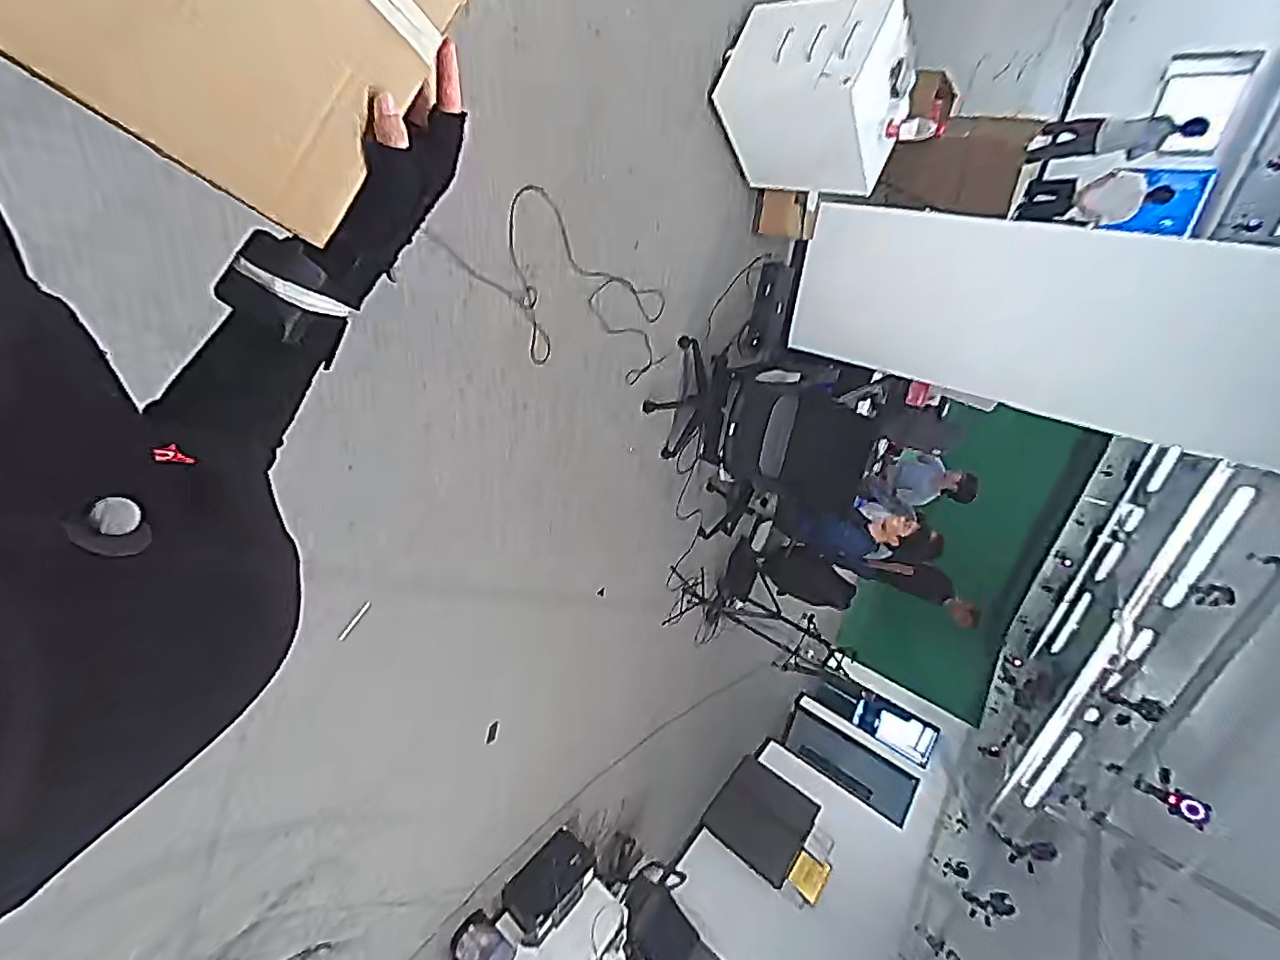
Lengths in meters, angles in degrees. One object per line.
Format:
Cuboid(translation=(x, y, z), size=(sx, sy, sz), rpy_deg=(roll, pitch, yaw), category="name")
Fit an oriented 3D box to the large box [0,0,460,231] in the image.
Cuboid(translation=(-0.354, -0.426, 0.310), size=(0.320, 0.320, 0.408), rpy_deg=(-57, 145, 3), category="large box")
